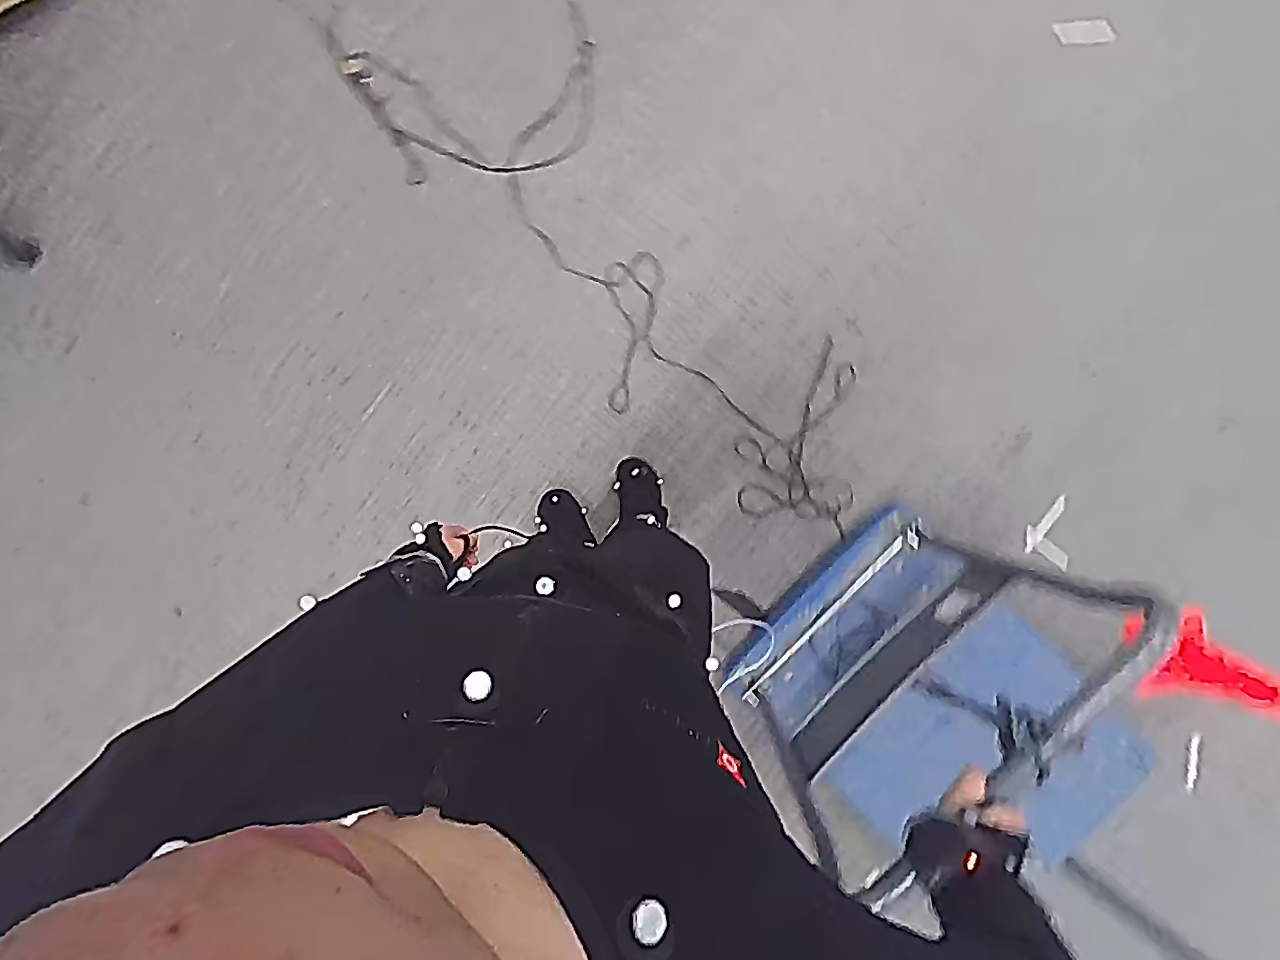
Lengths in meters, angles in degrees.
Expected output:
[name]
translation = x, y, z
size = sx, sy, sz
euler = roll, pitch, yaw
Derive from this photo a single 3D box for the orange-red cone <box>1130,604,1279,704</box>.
[orange-red cone]
translation = 1.358, 0.436, 1.218
size = 0.198, 0.360, 0.199
euler = -7, 95, 2
